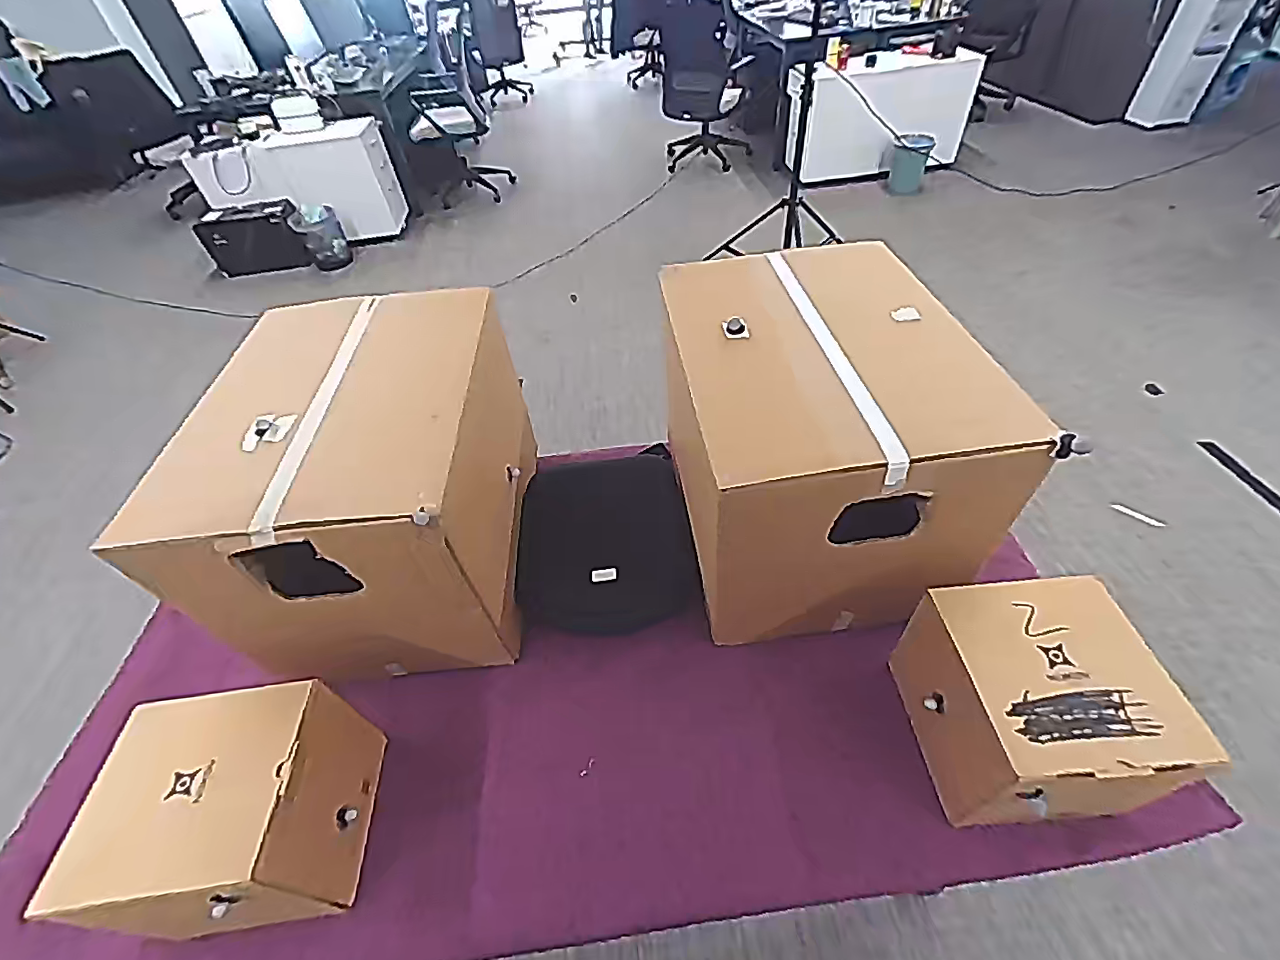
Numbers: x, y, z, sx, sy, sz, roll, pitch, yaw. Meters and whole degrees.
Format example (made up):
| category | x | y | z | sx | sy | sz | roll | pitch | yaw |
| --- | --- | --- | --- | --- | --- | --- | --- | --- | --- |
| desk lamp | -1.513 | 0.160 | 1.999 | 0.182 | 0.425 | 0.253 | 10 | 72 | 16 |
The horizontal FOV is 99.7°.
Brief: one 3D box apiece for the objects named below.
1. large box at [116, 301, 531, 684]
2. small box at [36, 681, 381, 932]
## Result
| category | x | y | z | sx | sy | sz | roll | pitch | yaw |
| --- | --- | --- | --- | --- | --- | --- | --- | --- | --- |
| large box | -0.335 | 0.012 | 0.730 | 0.320 | 0.320 | 0.408 | -7 | 49 | 1 |
| small box | -0.393 | 0.326 | 0.538 | 0.179 | 0.176 | 0.168 | -8 | 46 | -2 |
